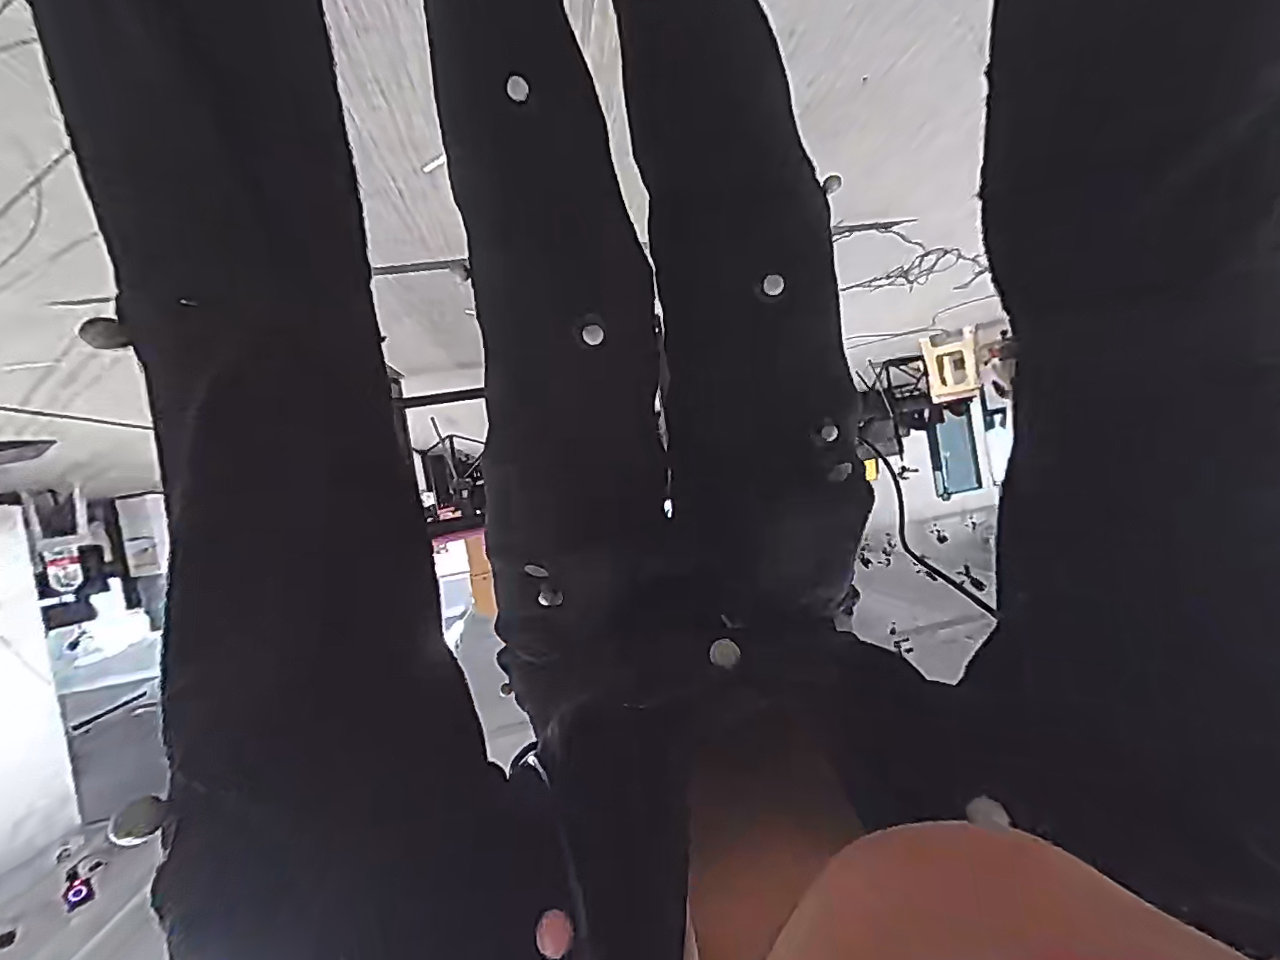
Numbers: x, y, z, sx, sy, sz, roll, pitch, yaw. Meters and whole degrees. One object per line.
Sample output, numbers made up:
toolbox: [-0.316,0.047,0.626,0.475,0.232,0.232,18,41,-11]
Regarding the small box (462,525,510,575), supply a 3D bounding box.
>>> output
small box: [-0.645,0.287,2.256,0.168,0.176,0.179,-11,-178,-16]
